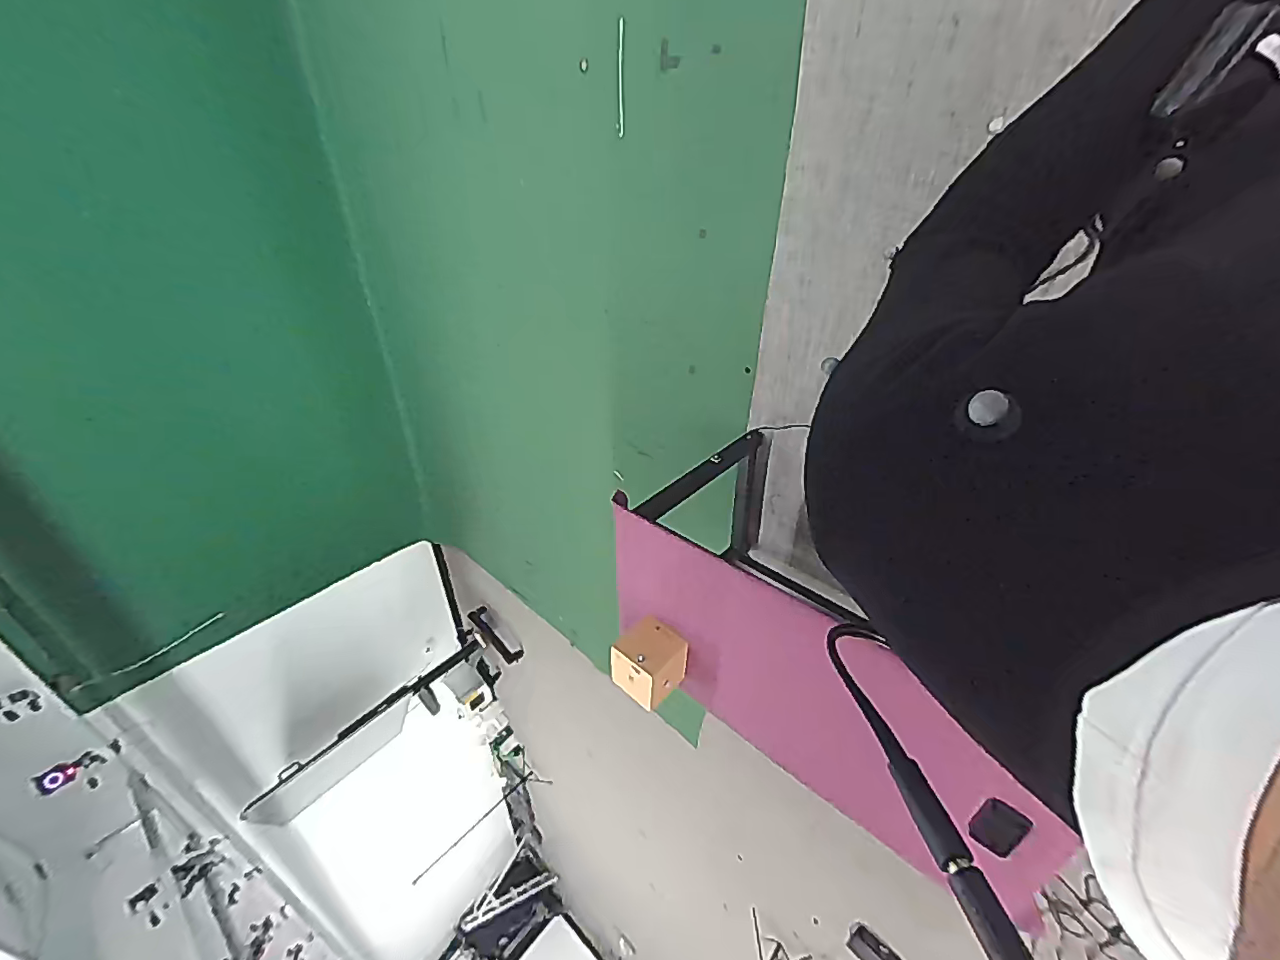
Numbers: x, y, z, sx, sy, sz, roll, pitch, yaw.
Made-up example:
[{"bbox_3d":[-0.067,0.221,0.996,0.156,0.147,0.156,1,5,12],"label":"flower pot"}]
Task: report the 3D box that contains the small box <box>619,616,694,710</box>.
[{"bbox_3d":[0.052,0.560,1.671,0.168,0.176,0.179,27,133,33],"label":"small box"}]
